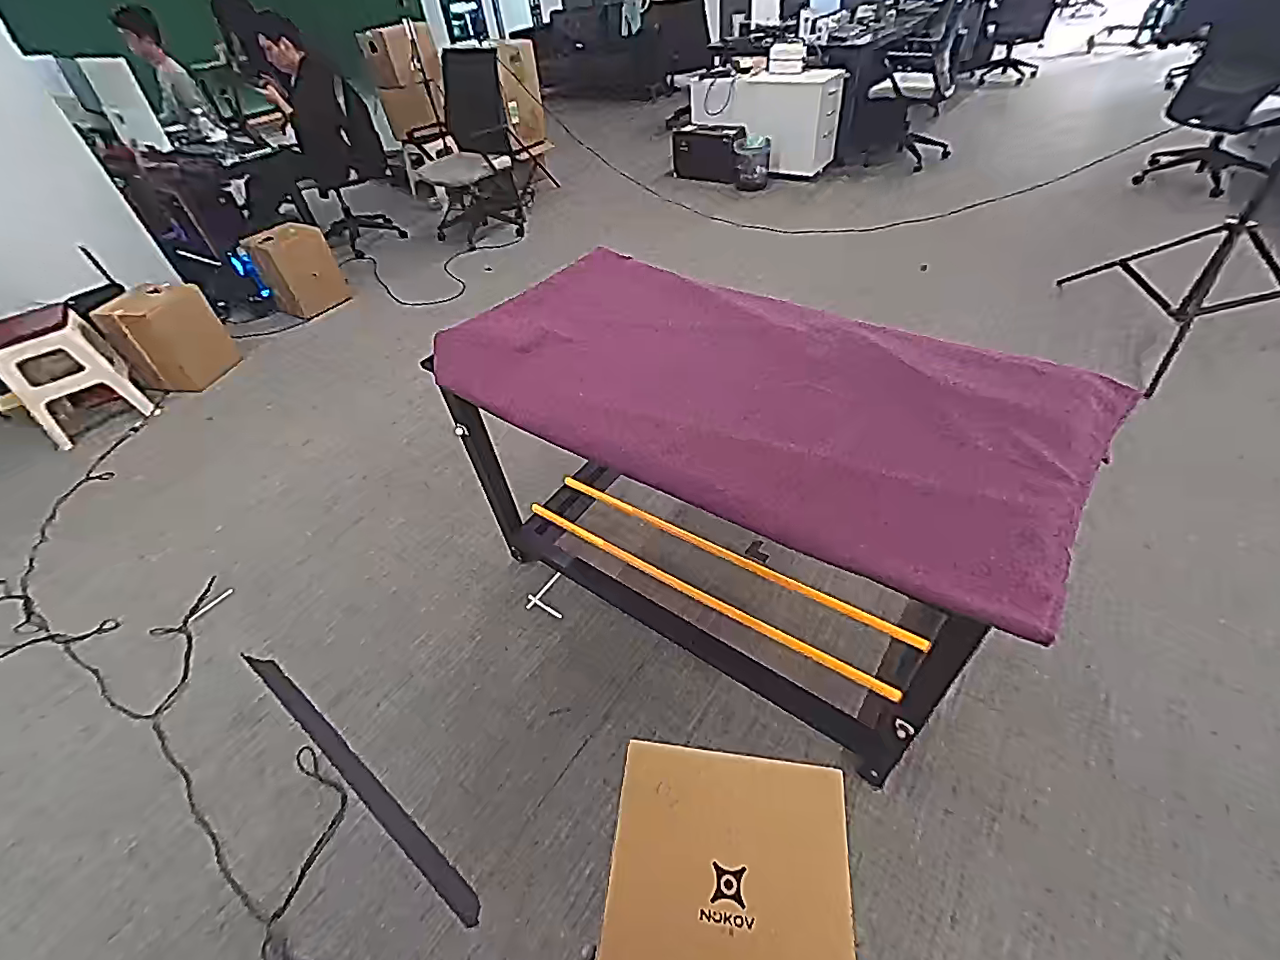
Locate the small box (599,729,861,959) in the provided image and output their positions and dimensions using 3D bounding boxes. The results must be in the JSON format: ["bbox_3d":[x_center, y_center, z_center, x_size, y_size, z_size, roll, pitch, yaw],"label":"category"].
[{"bbox_3d":[0.065,0.320,0.427,0.168,0.176,0.179,5,53,7],"label":"small box"}]
